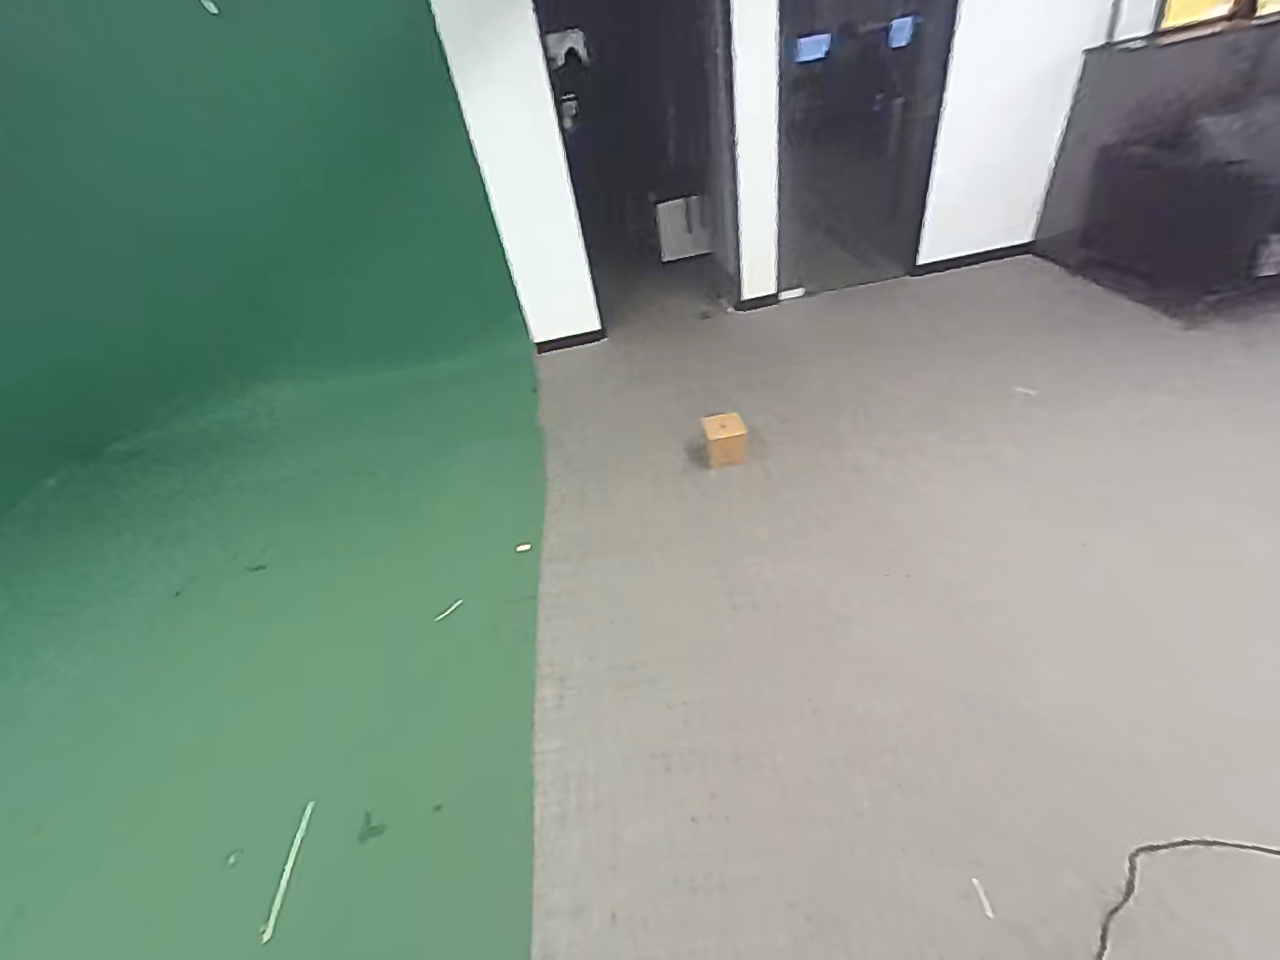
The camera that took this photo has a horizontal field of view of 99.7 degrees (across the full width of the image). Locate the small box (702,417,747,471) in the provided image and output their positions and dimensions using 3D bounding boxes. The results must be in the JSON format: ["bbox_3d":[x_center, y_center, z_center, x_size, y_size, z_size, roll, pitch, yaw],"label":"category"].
[{"bbox_3d":[0.383,-0.157,2.435,0.168,0.176,0.179,-10,39,1],"label":"small box"}]
